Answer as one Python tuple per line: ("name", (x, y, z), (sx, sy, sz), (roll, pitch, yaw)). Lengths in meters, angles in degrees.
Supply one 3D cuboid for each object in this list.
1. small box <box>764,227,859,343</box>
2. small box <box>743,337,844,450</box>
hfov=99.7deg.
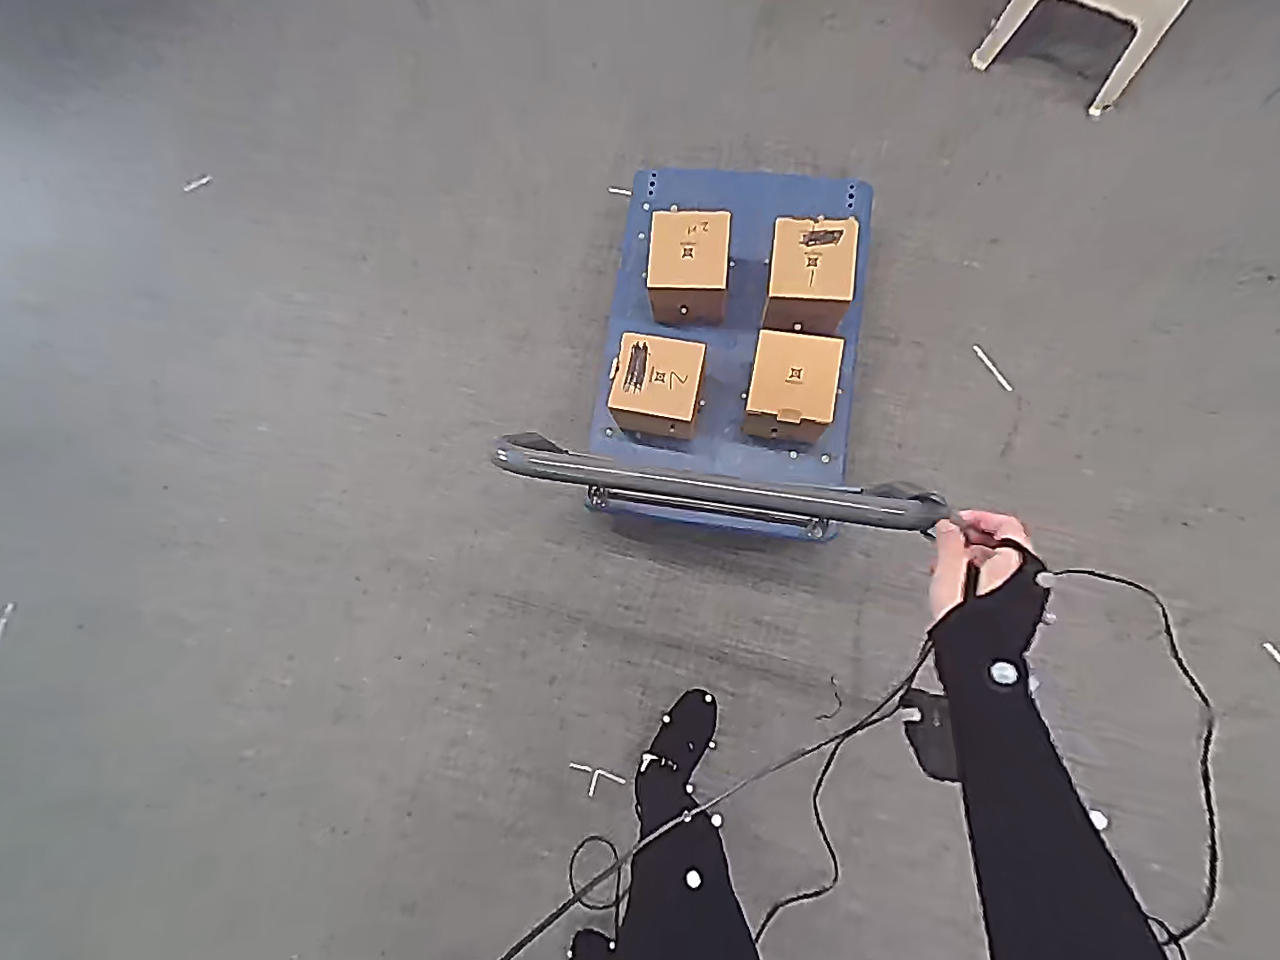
("small box", (0.365, -0.418, 1.175), (0.168, 0.176, 0.179), (6, 82, 9))
("small box", (0.315, -0.176, 1.140), (0.168, 0.176, 0.179), (10, 82, 8))
